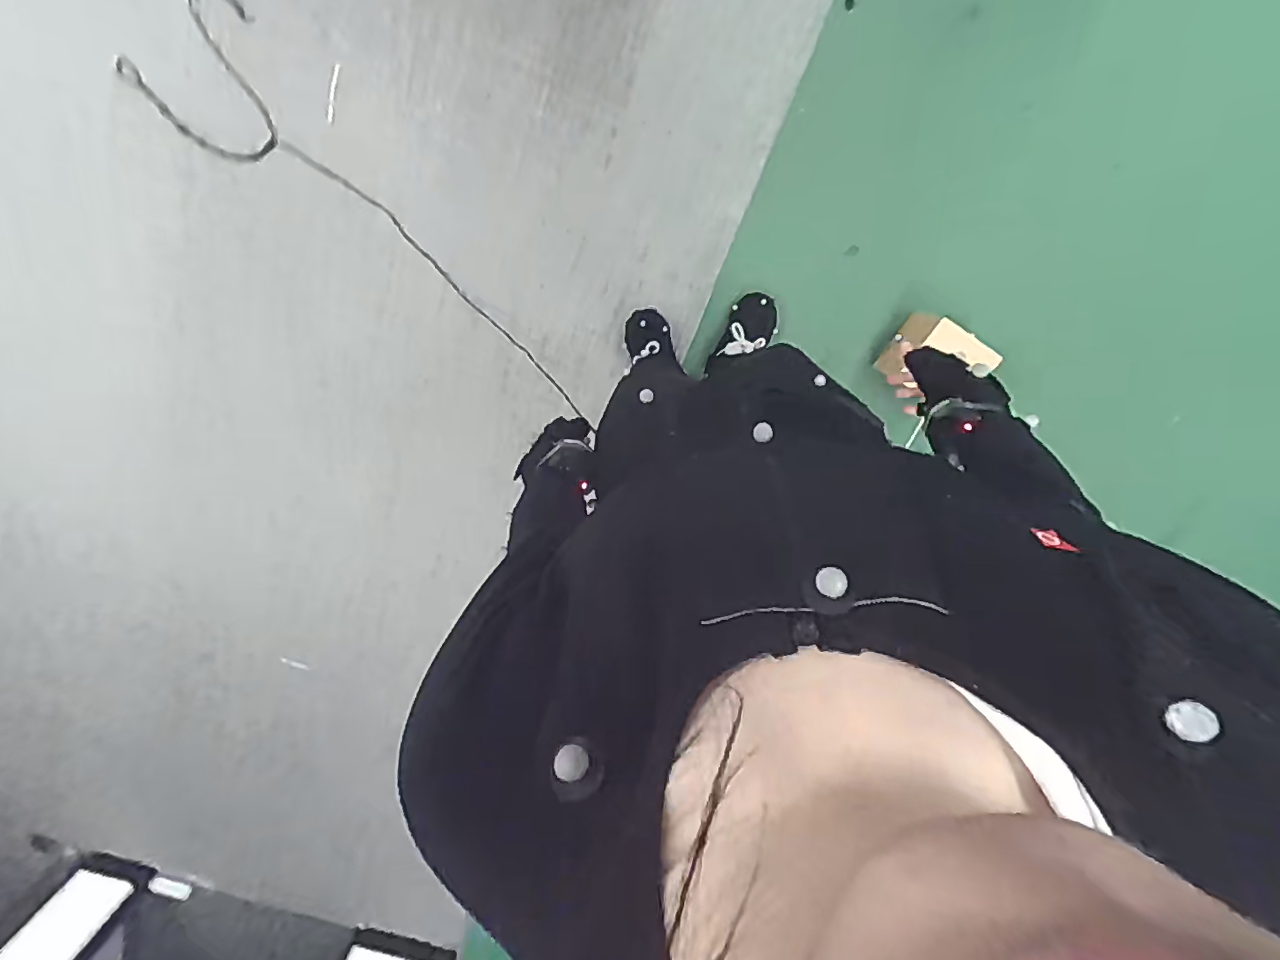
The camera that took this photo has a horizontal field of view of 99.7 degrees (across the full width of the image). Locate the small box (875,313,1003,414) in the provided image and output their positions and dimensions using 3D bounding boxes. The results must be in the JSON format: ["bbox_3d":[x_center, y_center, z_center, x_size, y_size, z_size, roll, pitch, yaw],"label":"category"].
[{"bbox_3d":[0.710,-0.289,1.304,0.179,0.176,0.168,31,109,-8],"label":"small box"}]
